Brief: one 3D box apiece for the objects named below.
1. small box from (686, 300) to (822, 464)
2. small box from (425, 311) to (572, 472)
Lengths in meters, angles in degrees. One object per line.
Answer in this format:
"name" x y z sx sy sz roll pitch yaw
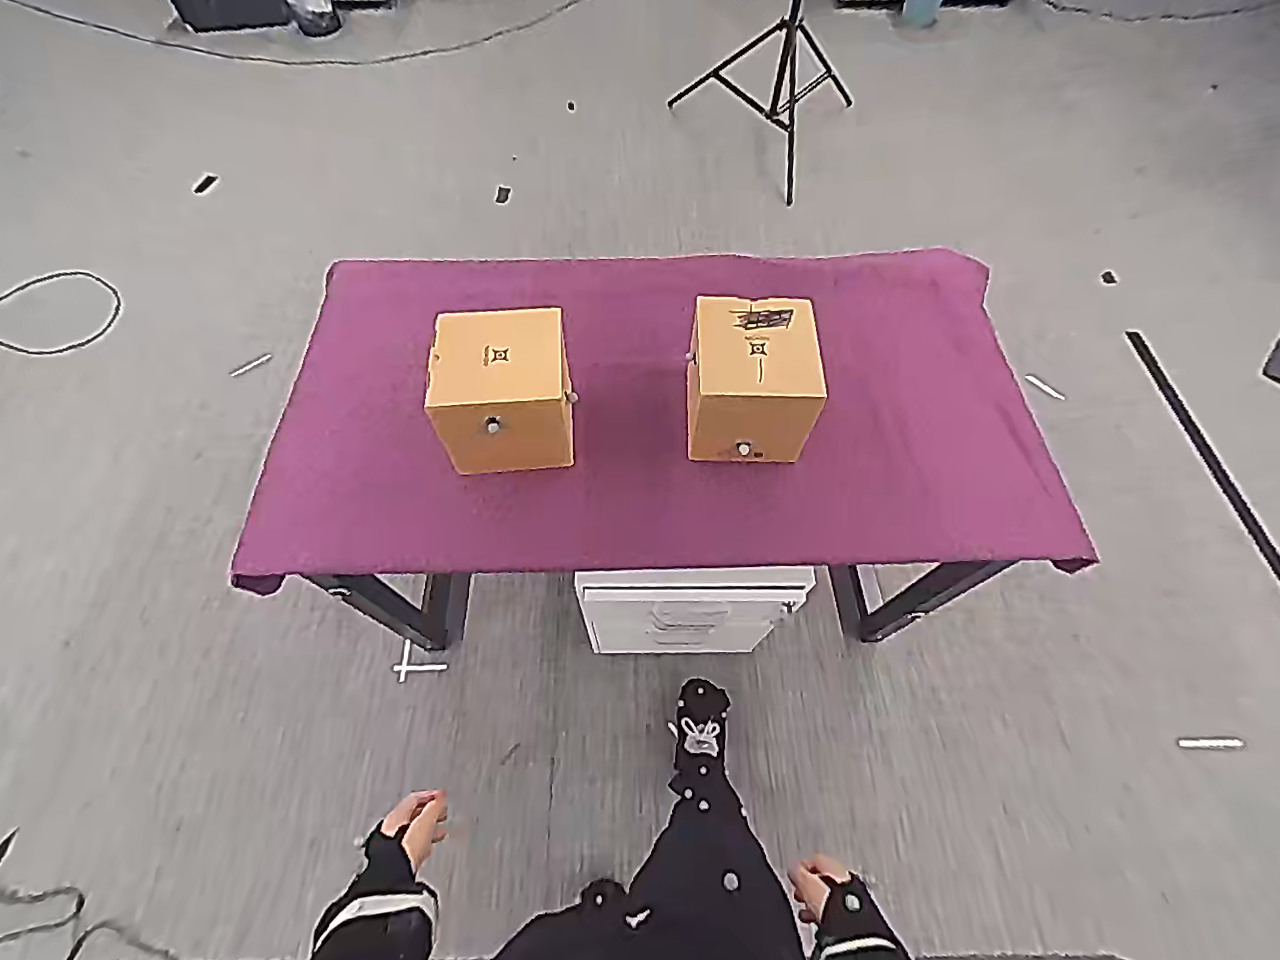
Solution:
"small box" 0.157 -0.143 0.810 0.168 0.176 0.179 1 62 1
"small box" -0.194 -0.125 0.798 0.179 0.176 0.168 -4 61 -2
